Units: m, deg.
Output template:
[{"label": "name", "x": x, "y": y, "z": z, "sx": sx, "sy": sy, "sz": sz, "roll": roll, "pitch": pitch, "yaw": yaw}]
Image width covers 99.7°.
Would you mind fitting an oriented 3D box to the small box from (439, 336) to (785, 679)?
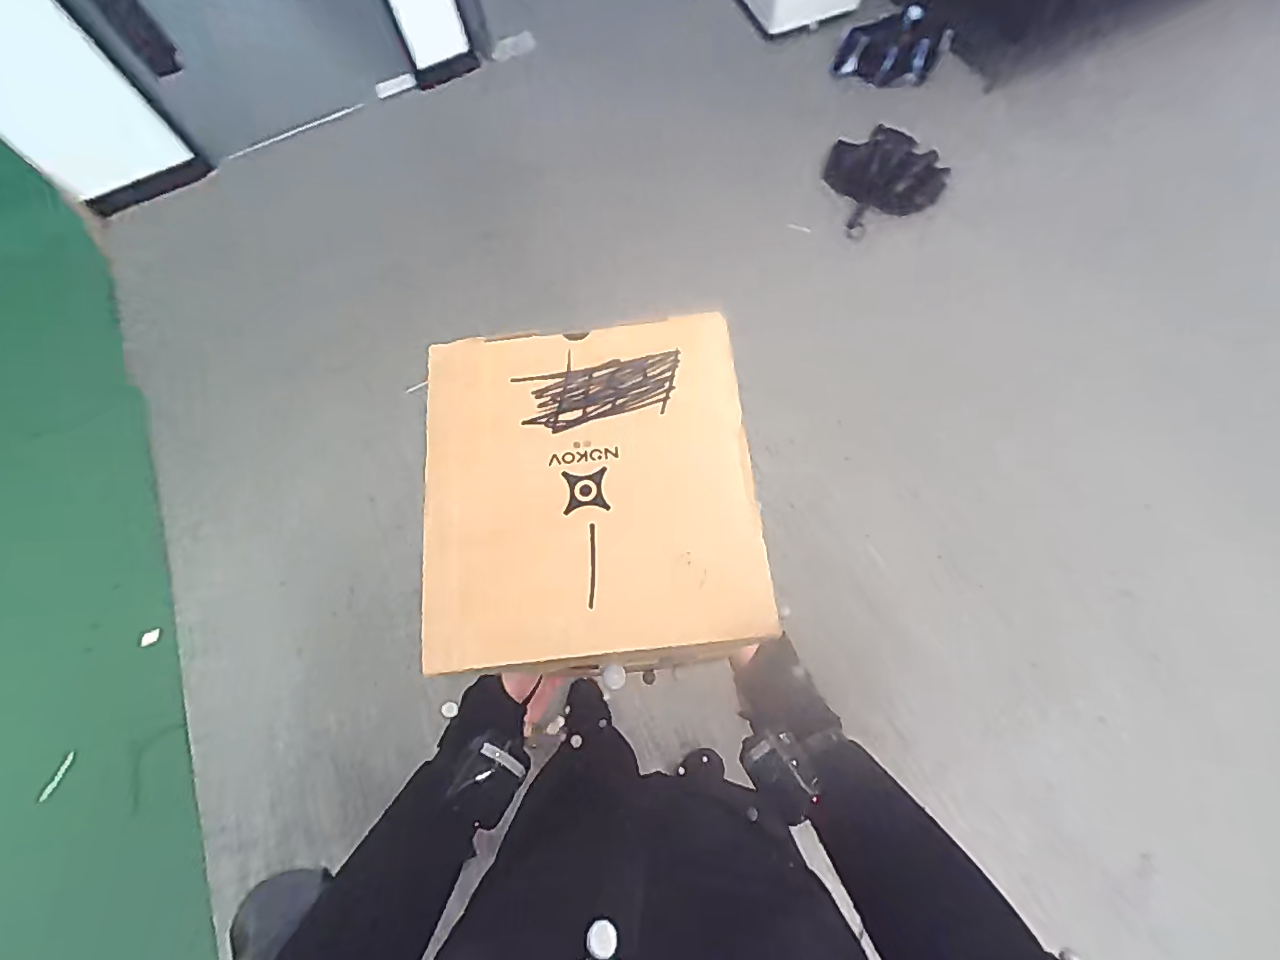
[{"label": "small box", "x": -0.017, "y": 0.032, "z": 0.355, "sx": 0.168, "sy": 0.176, "sz": 0.179, "roll": -6, "pitch": 71, "yaw": 1}]
